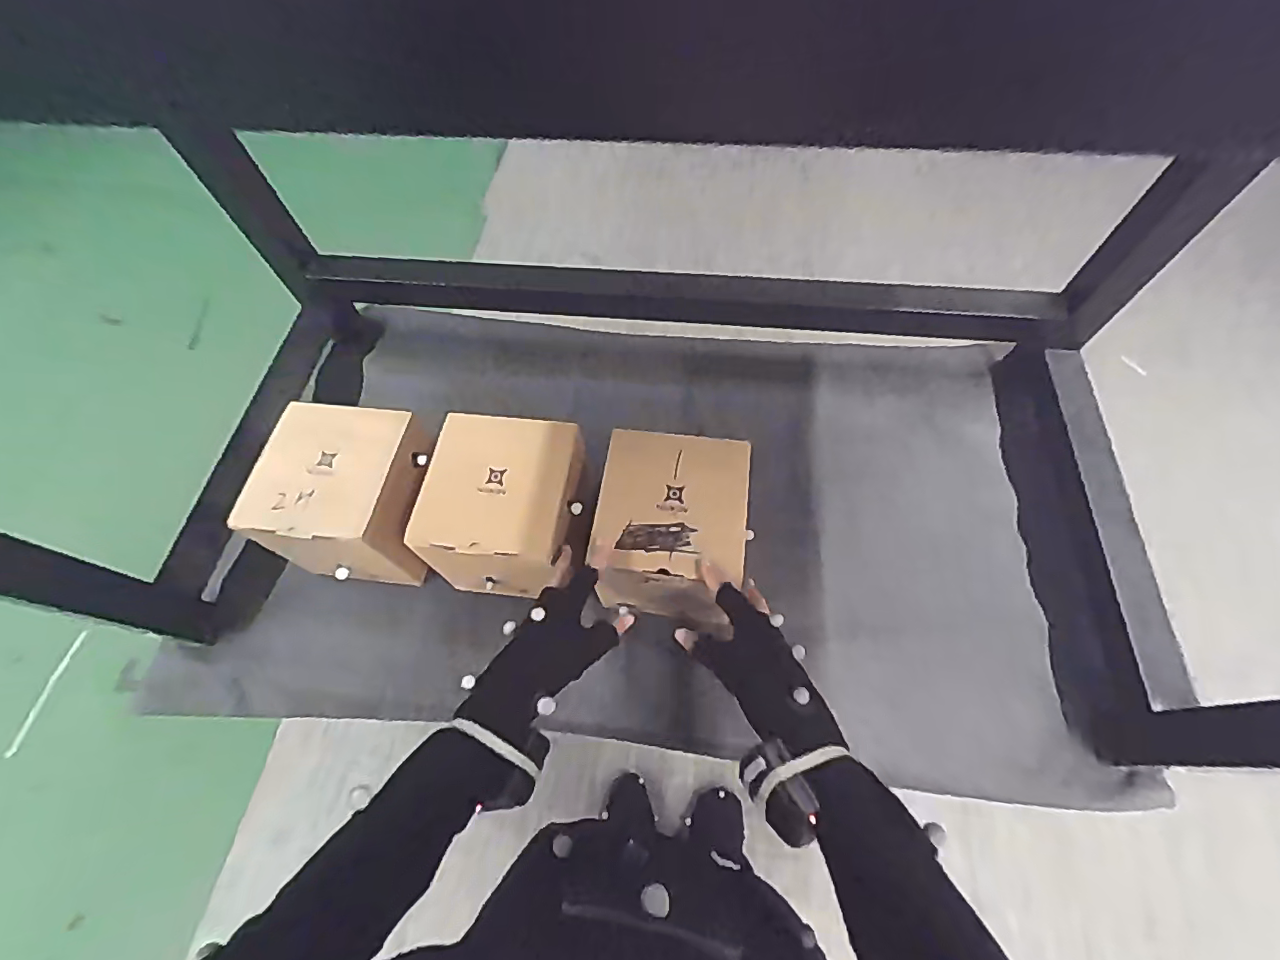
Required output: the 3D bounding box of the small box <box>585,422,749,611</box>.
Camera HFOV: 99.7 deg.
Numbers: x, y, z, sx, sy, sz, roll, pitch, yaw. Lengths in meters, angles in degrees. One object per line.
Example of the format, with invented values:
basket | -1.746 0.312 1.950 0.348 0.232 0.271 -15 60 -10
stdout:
small box | 0.039 0.052 0.668 0.168 0.176 0.179 6 62 7
